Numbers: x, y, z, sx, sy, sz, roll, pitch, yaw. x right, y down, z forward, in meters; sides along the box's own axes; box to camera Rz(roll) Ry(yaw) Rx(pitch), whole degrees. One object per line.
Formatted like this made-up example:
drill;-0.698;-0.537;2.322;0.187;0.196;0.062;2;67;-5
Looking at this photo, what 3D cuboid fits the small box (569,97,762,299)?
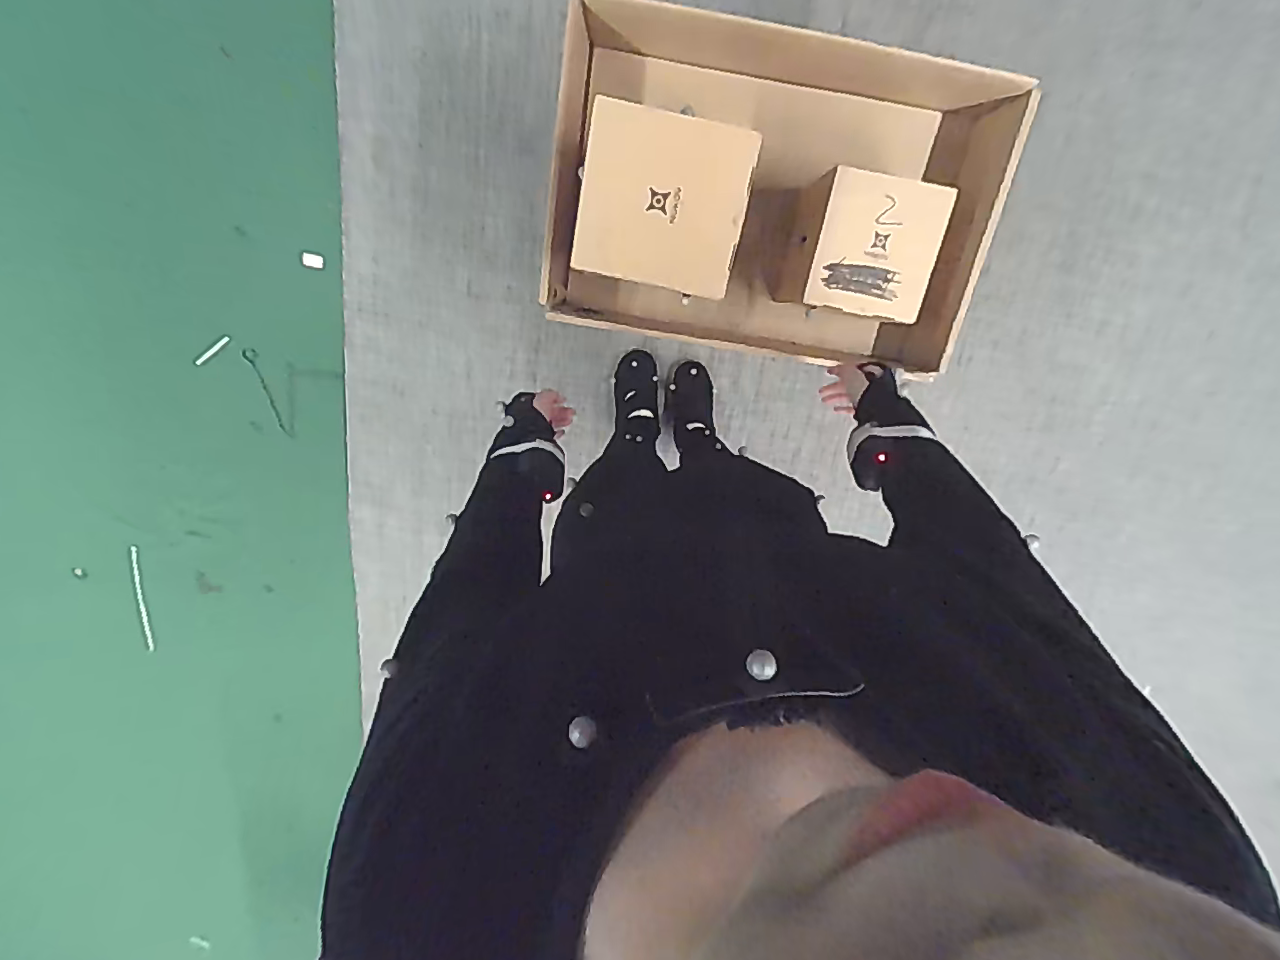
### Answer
small box;0.025;-0.317;0.644;0.179;0.176;0.168;11;109;-4
